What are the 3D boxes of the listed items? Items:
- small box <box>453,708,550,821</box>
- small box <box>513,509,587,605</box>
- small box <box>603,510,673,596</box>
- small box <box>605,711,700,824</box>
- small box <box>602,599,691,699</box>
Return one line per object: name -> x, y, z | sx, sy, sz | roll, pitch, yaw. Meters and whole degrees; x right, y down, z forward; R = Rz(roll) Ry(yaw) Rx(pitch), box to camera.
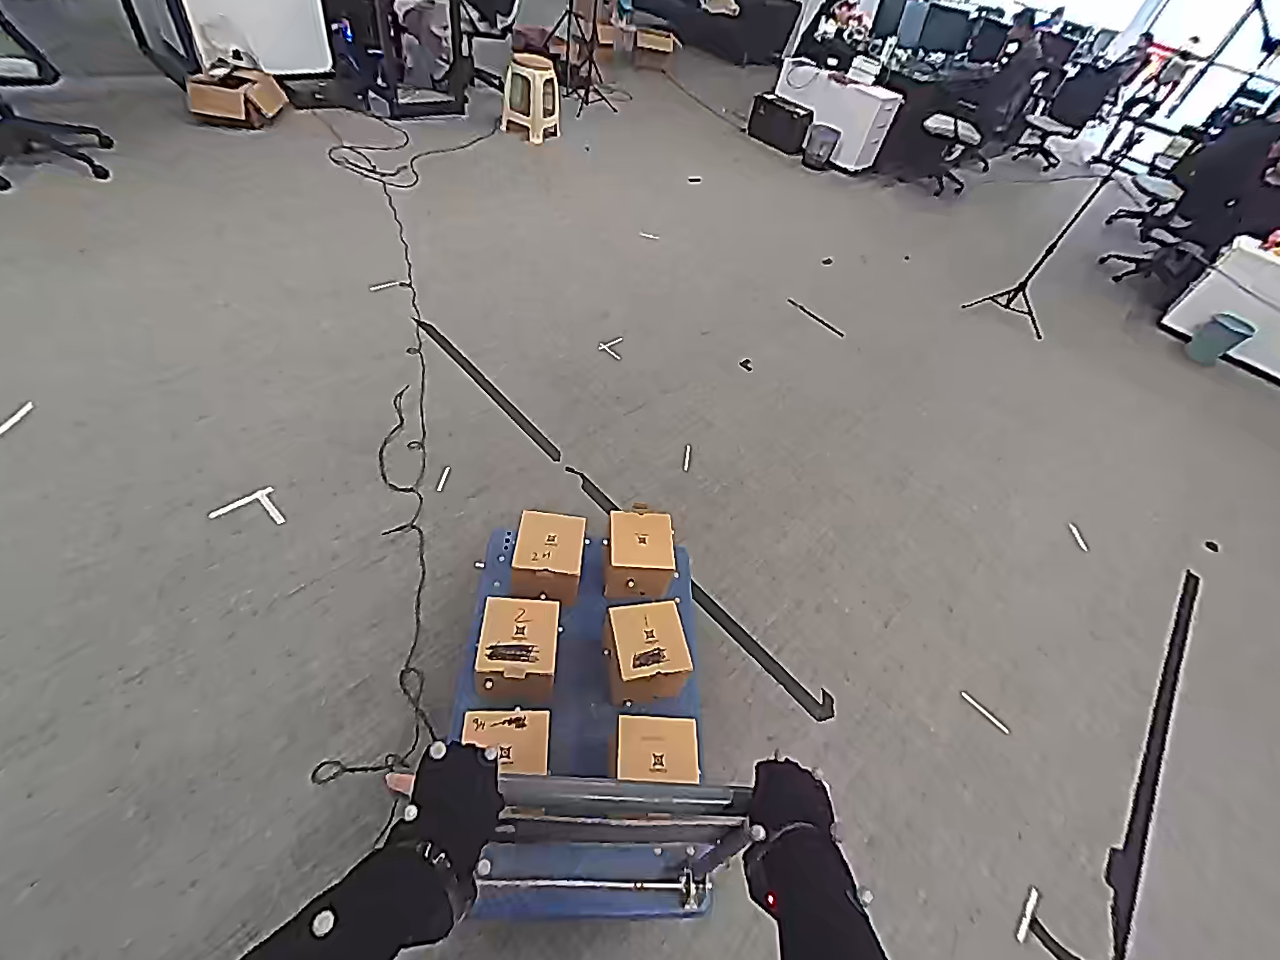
small box -> -0.271, 0.573, 1.084 | 0.168, 0.176, 0.179 | 5, 49, -11
small box -> -0.238, 0.203, 1.417 | 0.168, 0.176, 0.179 | 8, 49, -7
small box -> -0.010, 0.203, 1.475 | 0.168, 0.176, 0.179 | 4, 49, -10
small box -> 0.022, 0.606, 1.130 | 0.168, 0.176, 0.179 | 8, 48, -8
small box -> 0.008, 0.410, 1.297 | 0.168, 0.176, 0.179 | -2, 49, -16
